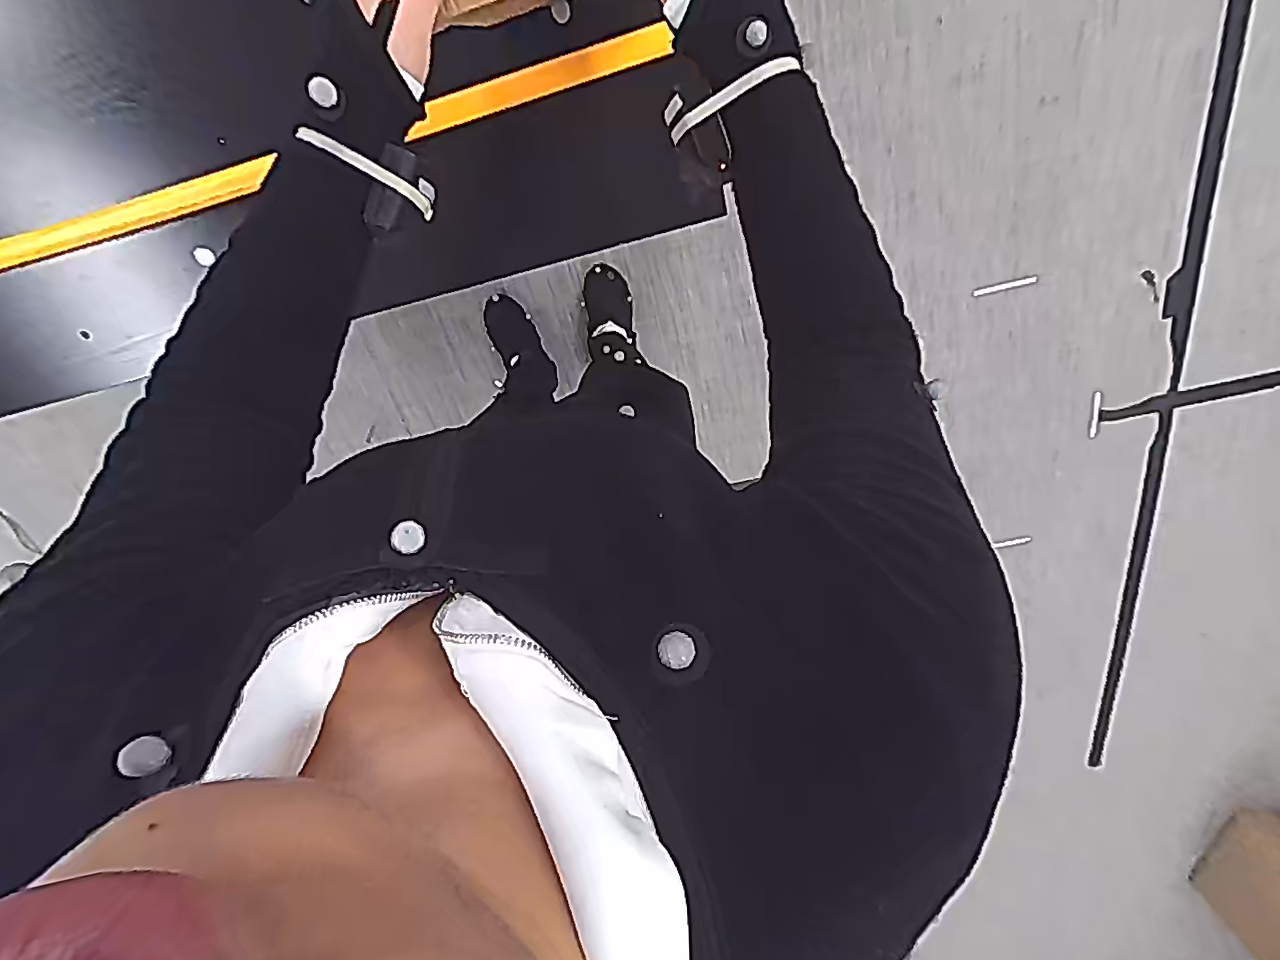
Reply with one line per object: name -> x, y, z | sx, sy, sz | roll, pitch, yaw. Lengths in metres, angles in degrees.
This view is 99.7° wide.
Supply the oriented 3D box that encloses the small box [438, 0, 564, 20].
small box -> -0.080, -0.454, 0.374 | 0.168, 0.176, 0.179 | -11, 129, 8
